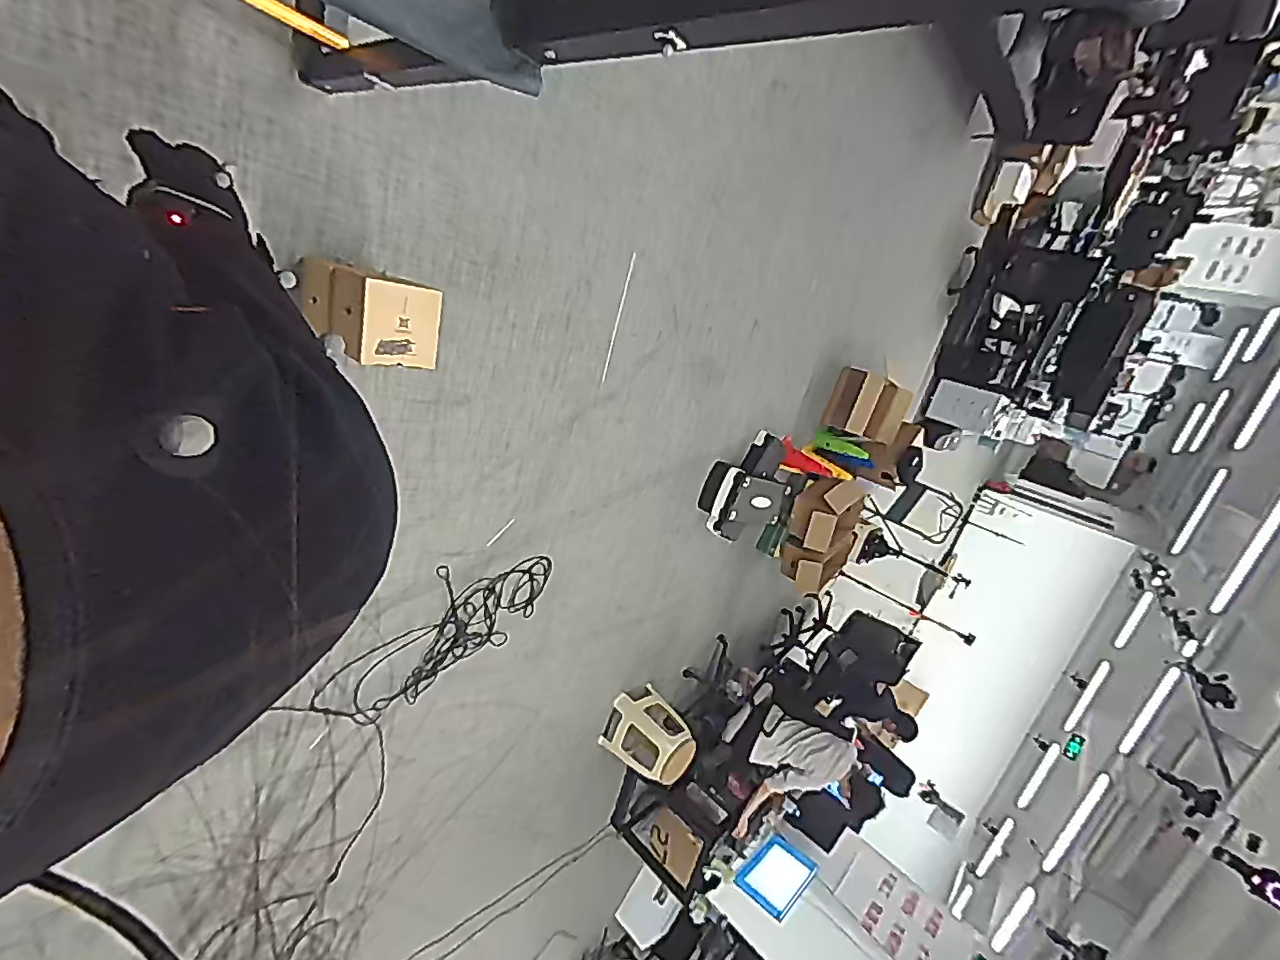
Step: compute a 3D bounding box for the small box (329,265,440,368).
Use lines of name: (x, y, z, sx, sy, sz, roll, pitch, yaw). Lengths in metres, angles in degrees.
small box: (-0.568, -0.358, 1.193, 0.168, 0.176, 0.179, -7, 117, -48)
